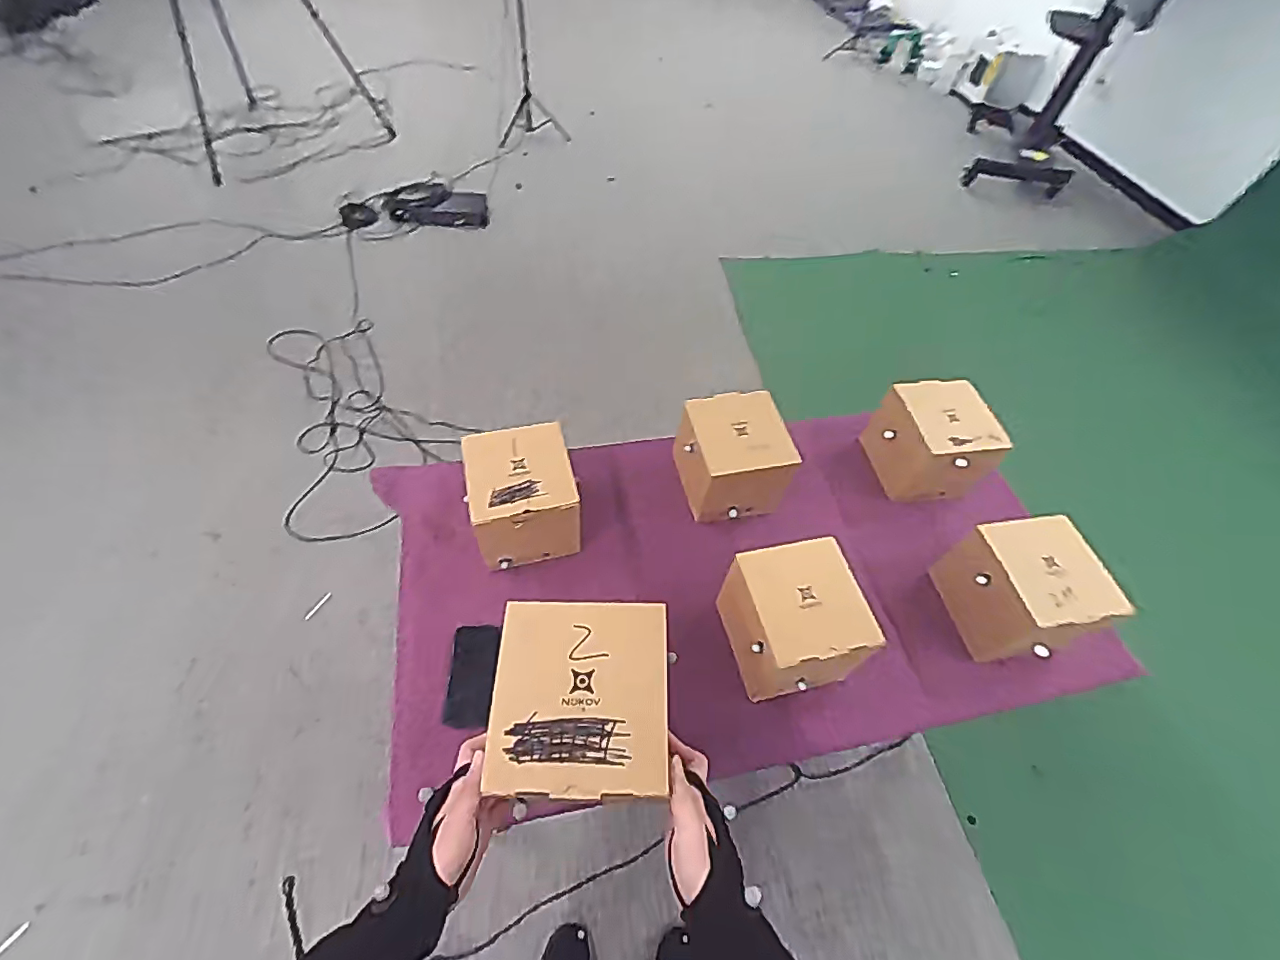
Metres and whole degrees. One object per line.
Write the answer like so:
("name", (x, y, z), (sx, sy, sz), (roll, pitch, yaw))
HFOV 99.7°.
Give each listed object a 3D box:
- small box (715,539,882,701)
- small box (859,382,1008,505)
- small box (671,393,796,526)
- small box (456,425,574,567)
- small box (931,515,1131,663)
("small box", (0.228, 0.217, 0.835), (0.168, 0.176, 0.179), (-9, 55, -12))
("small box", (0.567, -0.072, 1.077), (0.168, 0.176, 0.179), (-5, 55, -8))
("small box", (0.162, -0.038, 1.014), (0.168, 0.176, 0.179), (-8, 56, -10))
("small box", (-0.209, 0.034, 0.925), (0.168, 0.176, 0.179), (-10, 55, -13))
("small box", (0.623, 0.181, 0.893), (0.168, 0.176, 0.179), (-6, 55, -8))
